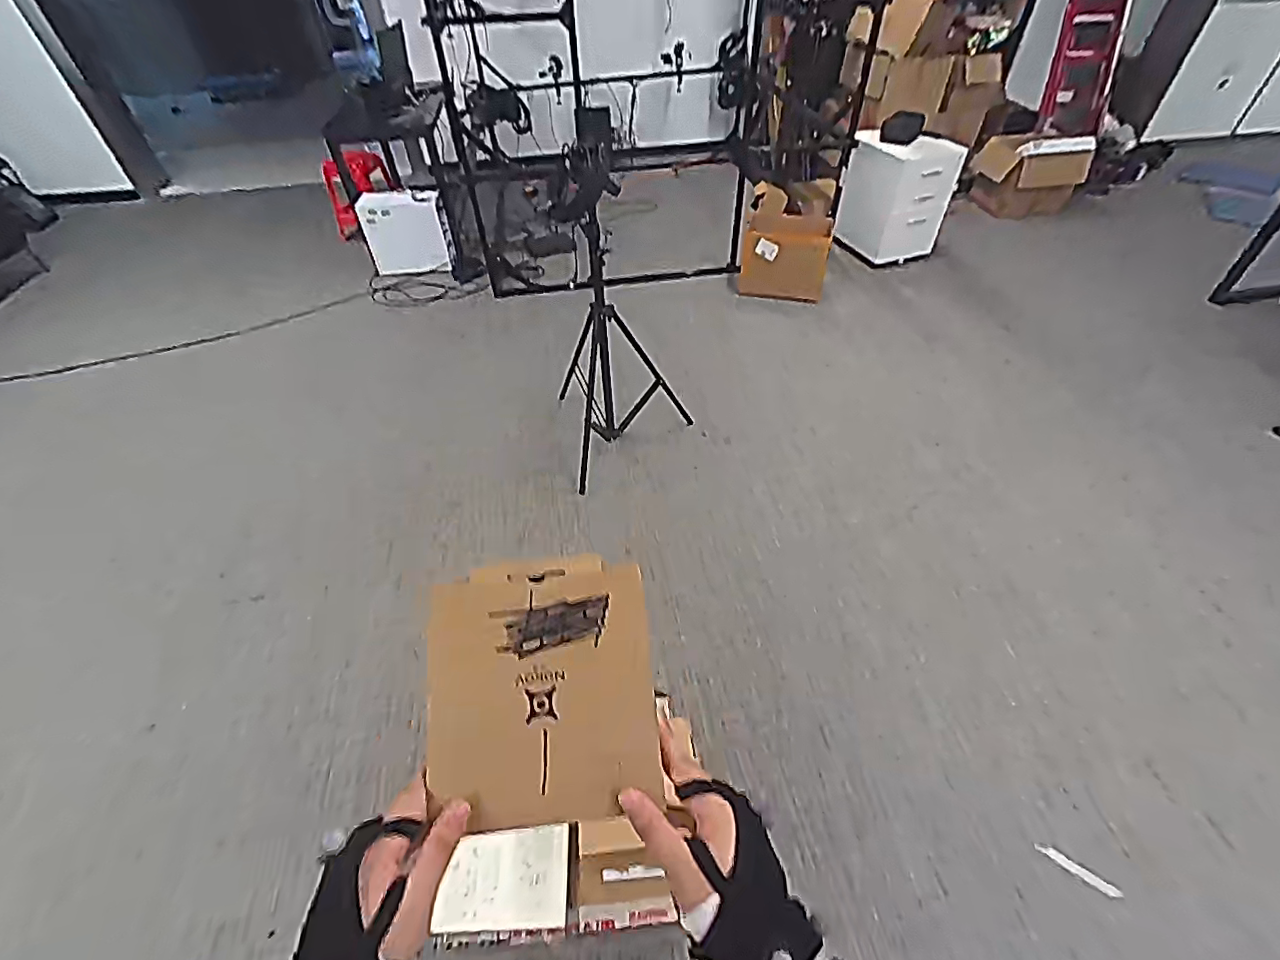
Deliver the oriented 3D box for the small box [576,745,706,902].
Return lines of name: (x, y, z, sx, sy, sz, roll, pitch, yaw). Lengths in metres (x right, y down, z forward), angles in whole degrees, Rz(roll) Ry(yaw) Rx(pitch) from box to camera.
small box: (-0.008, 0.520, 0.818, 0.179, 0.176, 0.168, -4, 47, -5)

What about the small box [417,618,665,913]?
small box: (-0.078, 0.221, 0.460, 0.168, 0.176, 0.179, -4, 71, -6)
